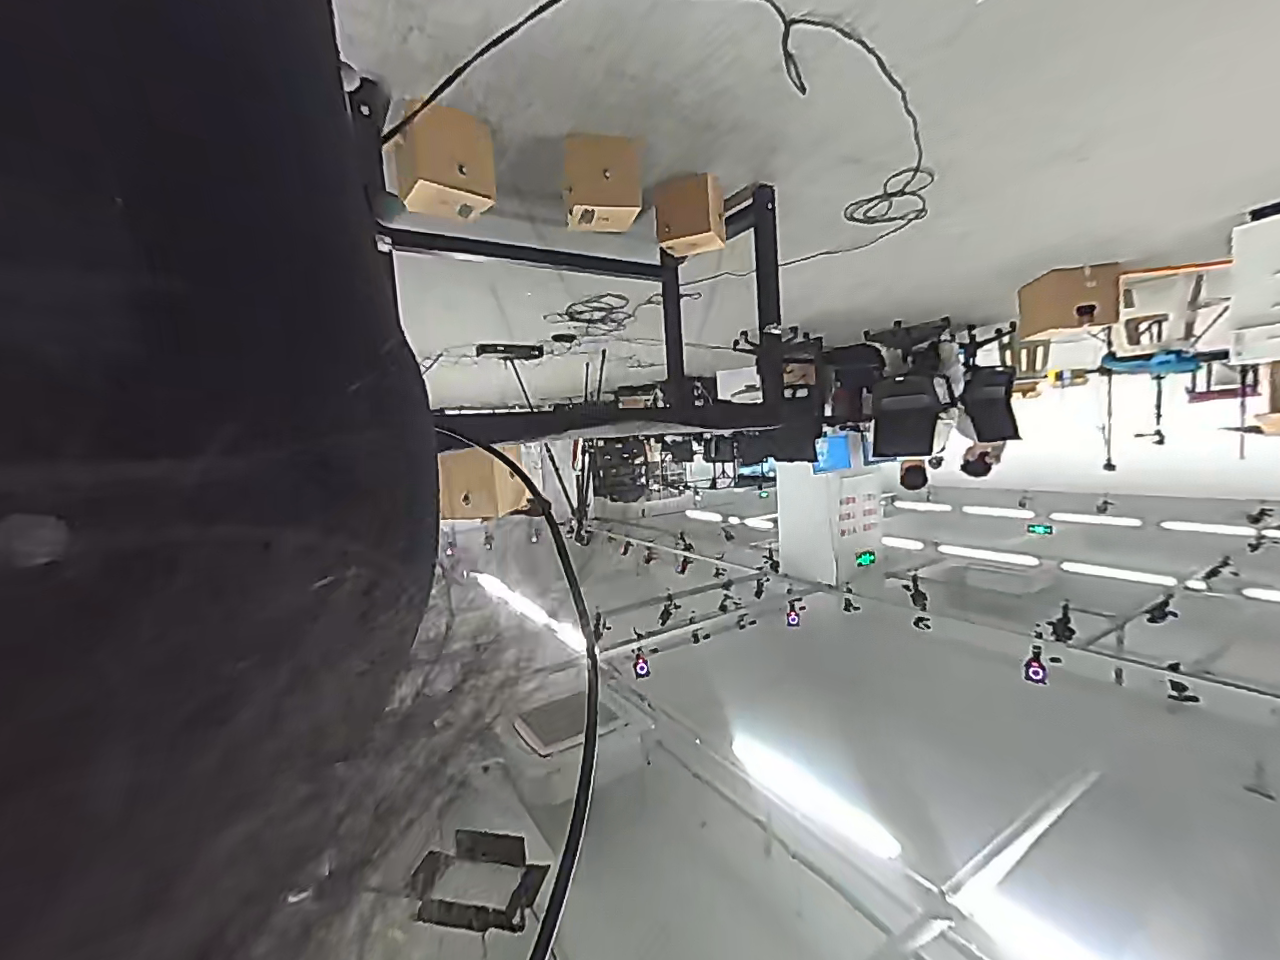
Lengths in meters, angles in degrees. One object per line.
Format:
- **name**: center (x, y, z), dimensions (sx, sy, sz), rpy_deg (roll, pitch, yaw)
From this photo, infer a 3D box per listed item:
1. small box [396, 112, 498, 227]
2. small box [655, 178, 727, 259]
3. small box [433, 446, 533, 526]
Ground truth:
- **small box**: center (-0.453, -0.718, 1.265), dimensions (0.179, 0.176, 0.168), rpy_deg (-7, -175, -38)
- **small box**: center (0.158, -0.804, 1.666), dimensions (0.179, 0.176, 0.168), rpy_deg (-2, -174, 25)
- **small box**: center (-0.382, 0.008, 1.327), dimensions (0.179, 0.176, 0.168), rpy_deg (-4, -173, 11)
